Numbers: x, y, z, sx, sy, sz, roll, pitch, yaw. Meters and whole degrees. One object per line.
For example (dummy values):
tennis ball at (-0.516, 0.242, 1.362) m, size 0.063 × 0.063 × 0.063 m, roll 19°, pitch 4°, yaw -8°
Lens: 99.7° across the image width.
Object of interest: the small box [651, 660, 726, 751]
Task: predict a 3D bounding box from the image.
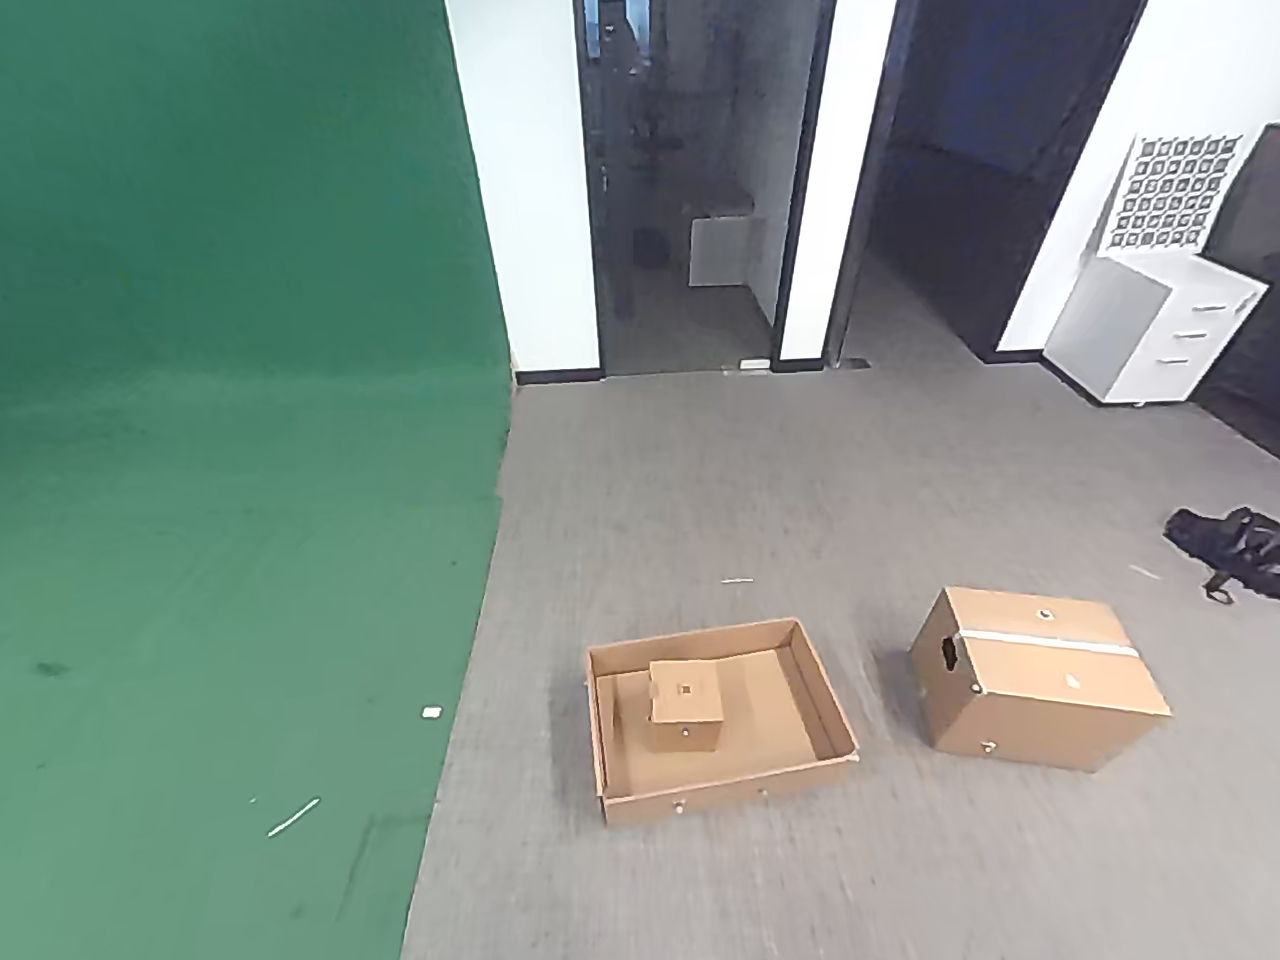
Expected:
small box at (0.119, 0.591, 1.411) m, size 0.179 × 0.176 × 0.168 m, roll 0°, pitch 40°, yaw -2°
